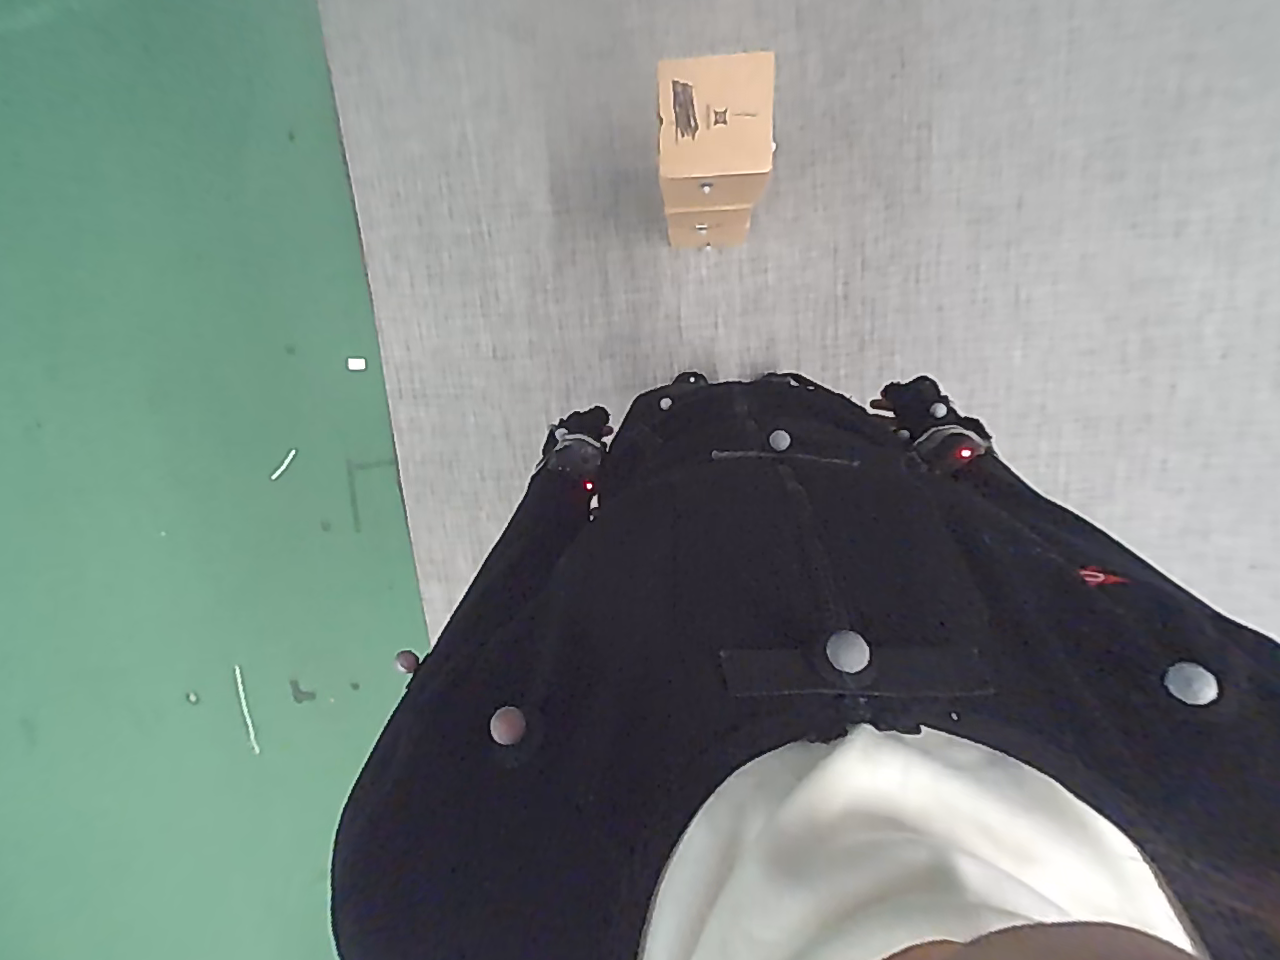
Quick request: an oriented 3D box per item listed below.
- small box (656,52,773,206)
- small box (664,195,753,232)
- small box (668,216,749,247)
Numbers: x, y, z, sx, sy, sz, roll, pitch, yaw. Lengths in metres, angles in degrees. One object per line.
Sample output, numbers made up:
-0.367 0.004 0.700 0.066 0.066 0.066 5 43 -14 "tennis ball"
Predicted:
0.122 -0.572 0.905 0.179 0.176 0.168 1 102 7 "small box"
0.134 -0.605 1.066 0.168 0.176 0.179 0 103 8 "small box"
0.153 -0.632 1.225 0.179 0.176 0.168 0 102 6 "small box"
